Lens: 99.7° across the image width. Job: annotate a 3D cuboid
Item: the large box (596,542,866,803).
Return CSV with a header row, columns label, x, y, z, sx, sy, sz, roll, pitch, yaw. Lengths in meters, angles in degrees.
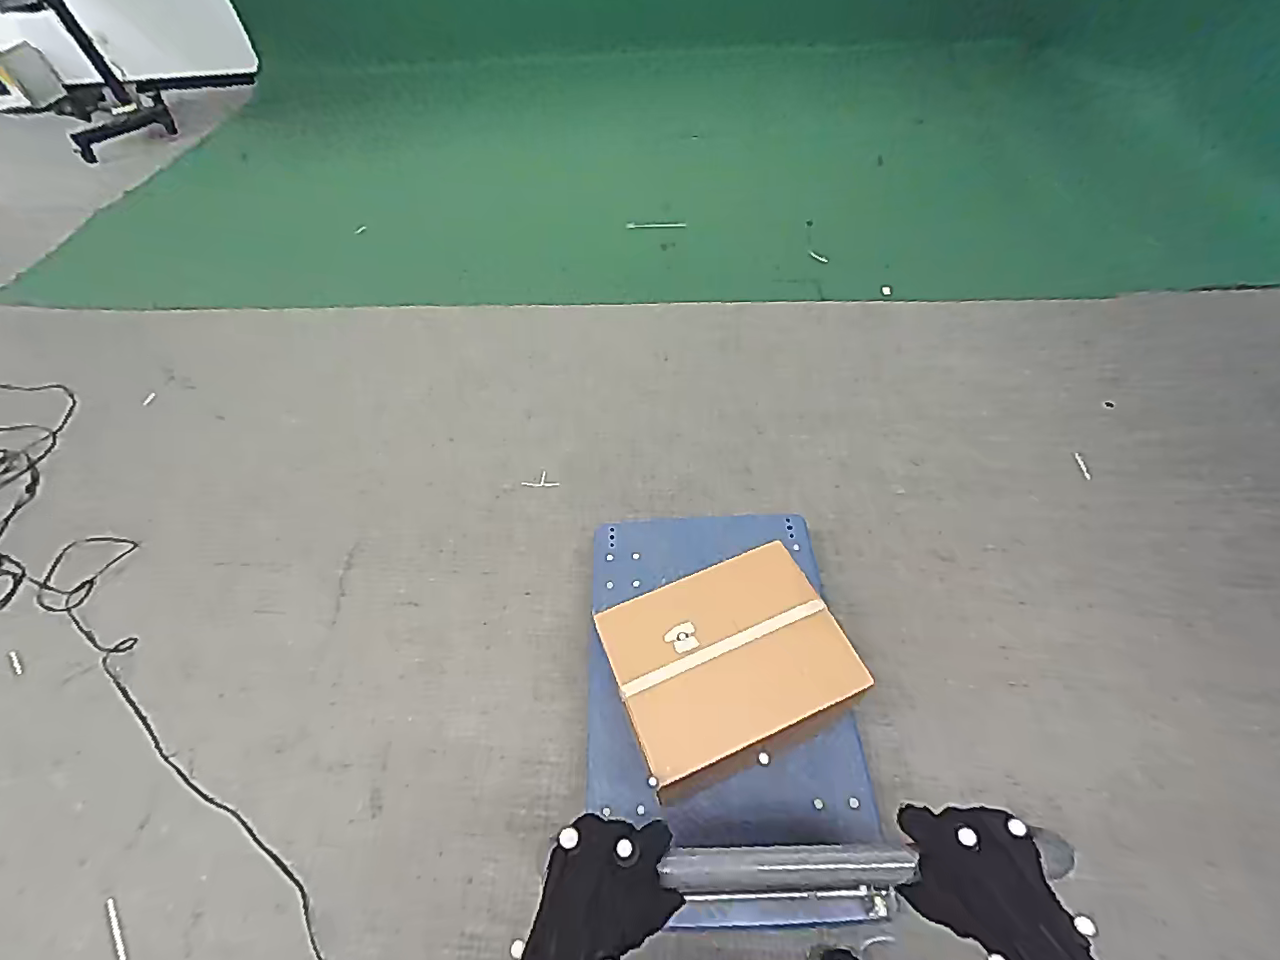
label,x,y,z,sx,sy,sz,roll,pitch,yaw
large box,0.166,0.393,1.097,0.408,0.320,0.320,-22,54,-10
